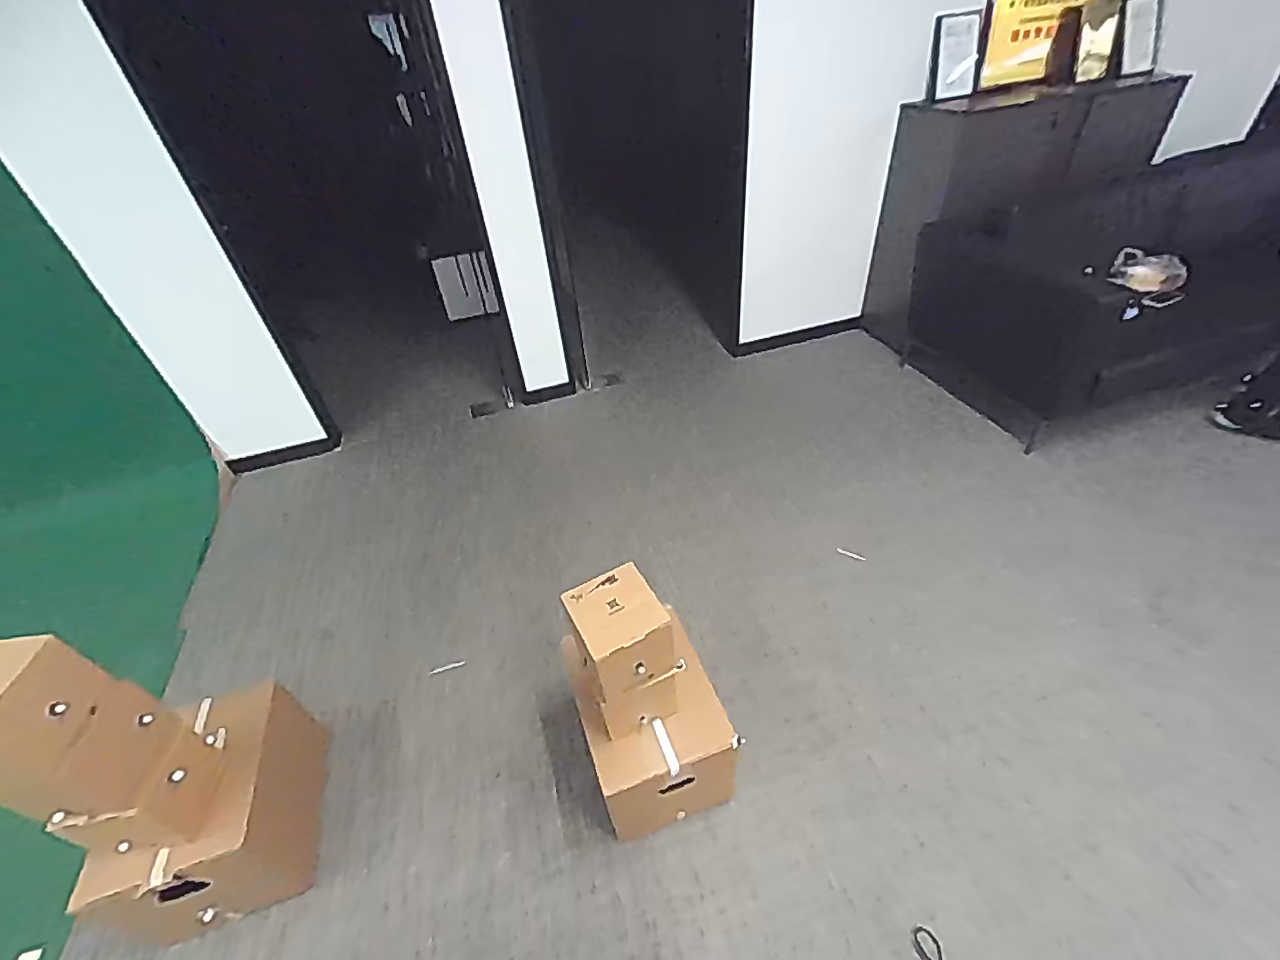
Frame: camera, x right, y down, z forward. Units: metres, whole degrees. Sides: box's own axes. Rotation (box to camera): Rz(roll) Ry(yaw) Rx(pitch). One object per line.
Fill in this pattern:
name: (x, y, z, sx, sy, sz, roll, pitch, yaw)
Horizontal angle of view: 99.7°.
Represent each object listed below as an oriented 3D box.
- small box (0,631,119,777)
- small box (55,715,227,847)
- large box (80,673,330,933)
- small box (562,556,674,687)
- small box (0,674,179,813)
small box: (-1.042, 0.373, 0.893, 0.179, 0.176, 0.168, -7, 41, 1)
small box: (-0.999, 0.616, 1.108, 0.168, 0.176, 0.179, -9, 42, -3)
large box: (-0.990, 0.764, 1.307, 0.320, 0.320, 0.408, -16, 41, -12)
small box: (-0.041, 0.296, 1.108, 0.168, 0.176, 0.179, -23, 45, -17)
small box: (-1.021, 0.490, 1.007, 0.168, 0.176, 0.179, -8, 42, 0)
